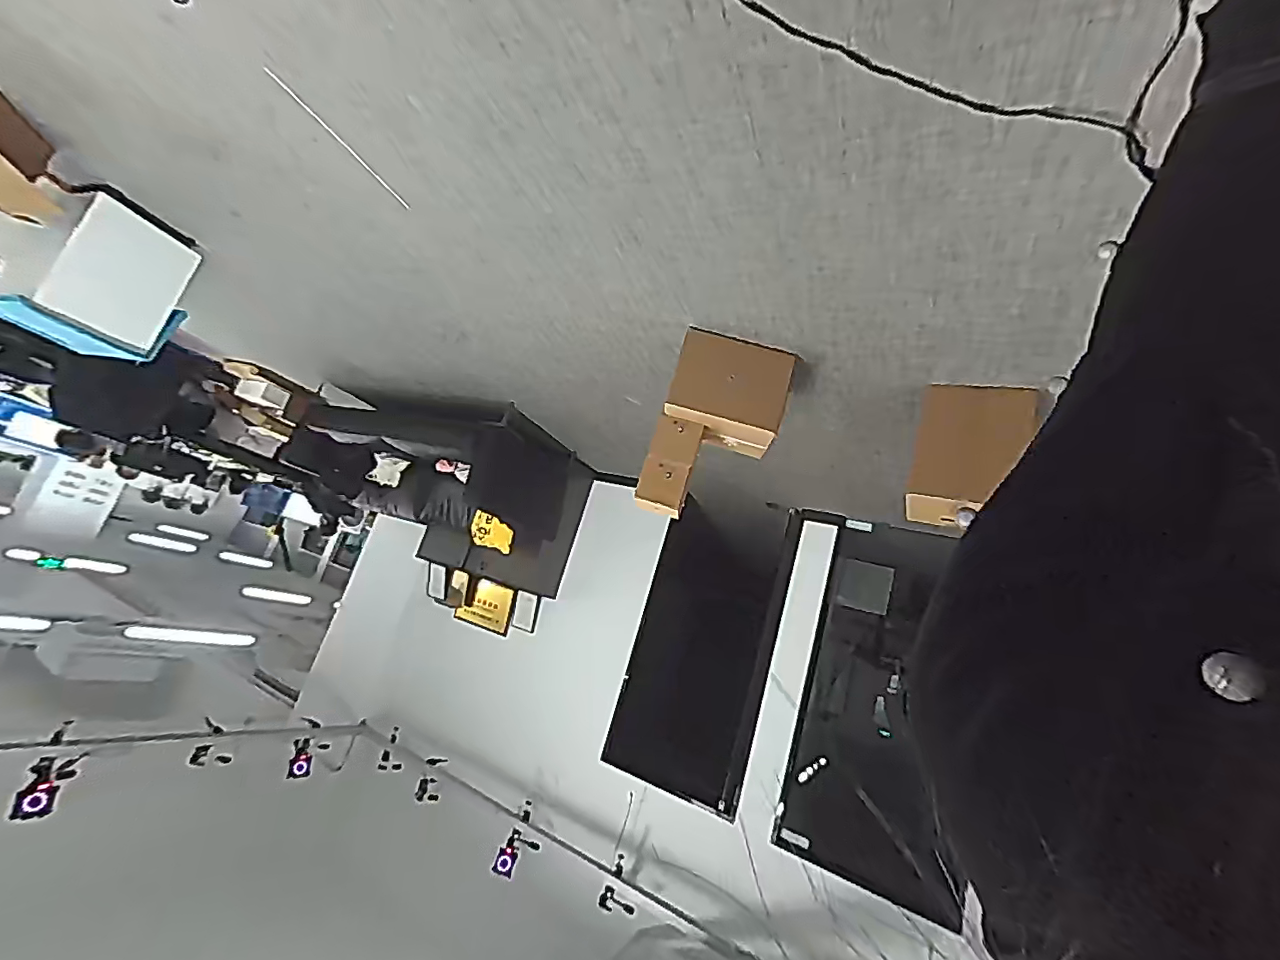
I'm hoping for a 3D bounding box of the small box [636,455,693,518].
[{"bbox_3d":[0.094,0.025,1.985,0.168,0.176,0.179,15,166,9],"label":"small box"}]
